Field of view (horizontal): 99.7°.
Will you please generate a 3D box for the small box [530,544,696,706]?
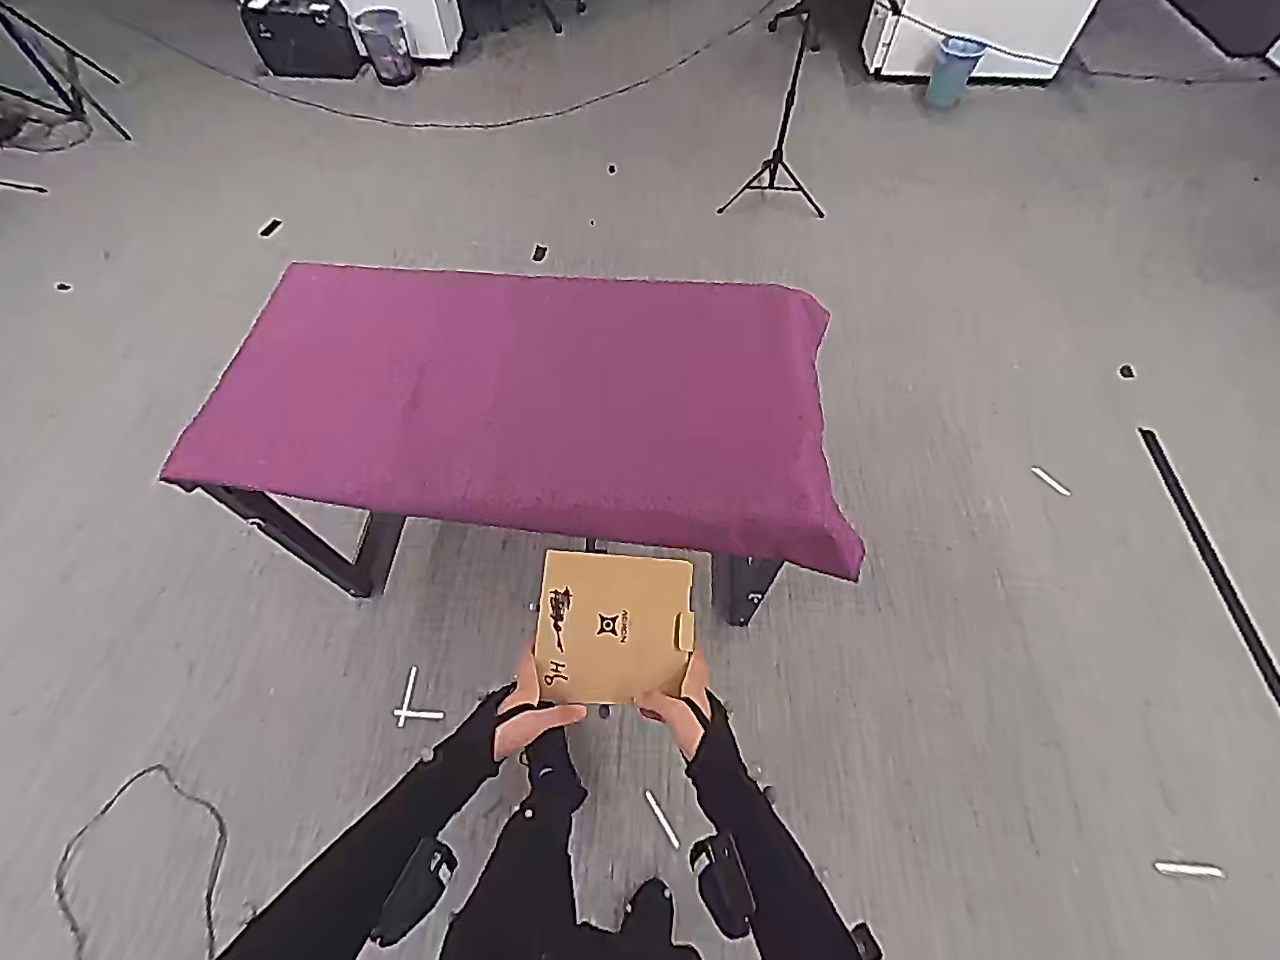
[{"bbox_3d":[-0.034,0.187,0.677,0.179,0.176,0.168,6,67,-5],"label":"small box"}]
